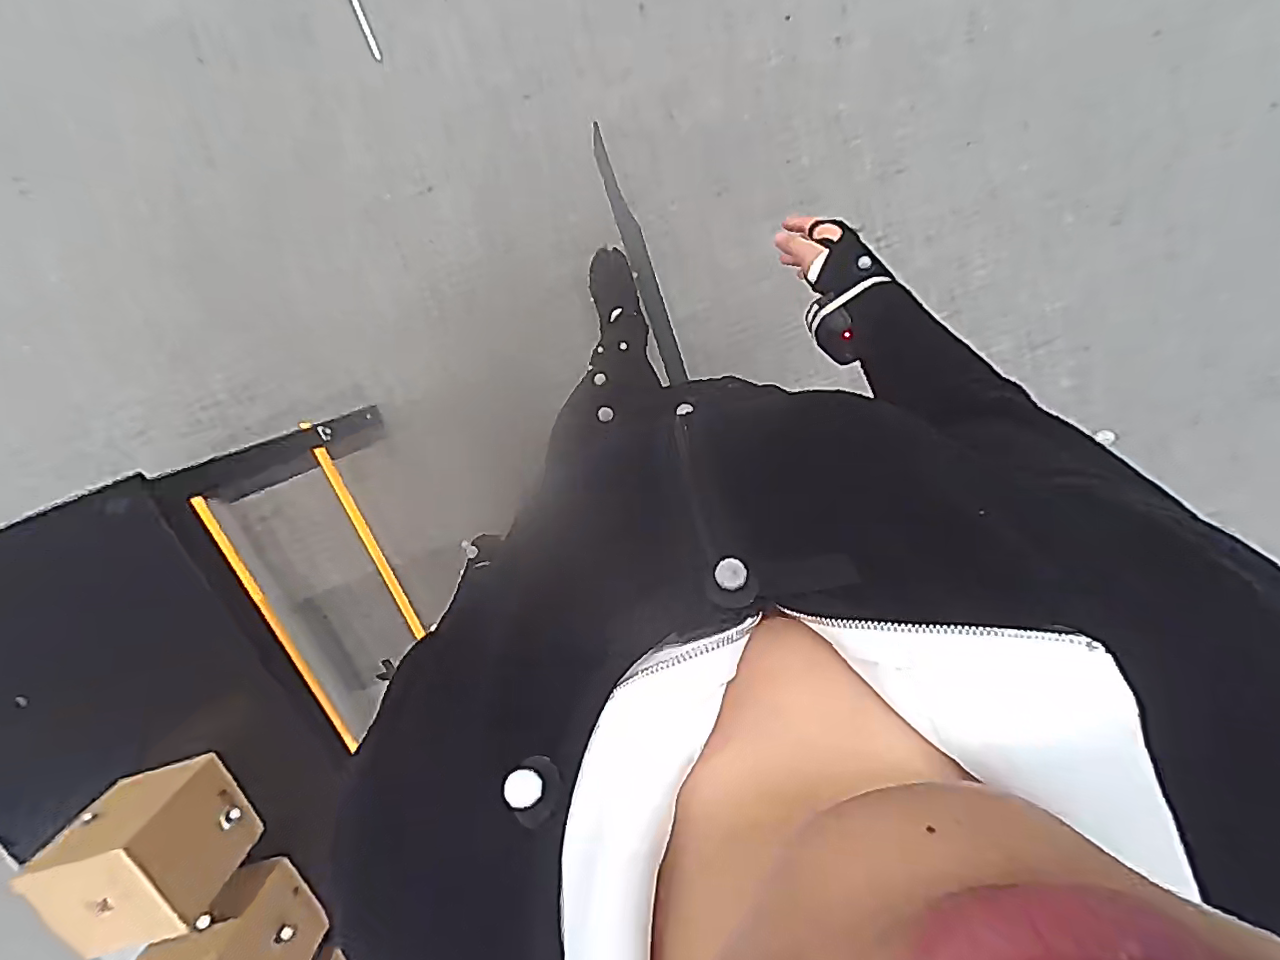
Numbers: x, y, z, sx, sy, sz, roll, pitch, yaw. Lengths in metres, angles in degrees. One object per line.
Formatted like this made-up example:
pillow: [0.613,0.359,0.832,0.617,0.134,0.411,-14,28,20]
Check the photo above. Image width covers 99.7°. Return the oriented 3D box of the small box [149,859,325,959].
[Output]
small box: [-0.650,0.760,0.875,0.179,0.176,0.168,-19,106,5]

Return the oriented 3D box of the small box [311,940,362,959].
small box: [-0.574,0.954,0.929,0.168,0.176,0.179,-22,104,6]

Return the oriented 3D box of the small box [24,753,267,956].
small box: [-0.726,0.555,0.819,0.179,0.176,0.168,-19,106,5]
